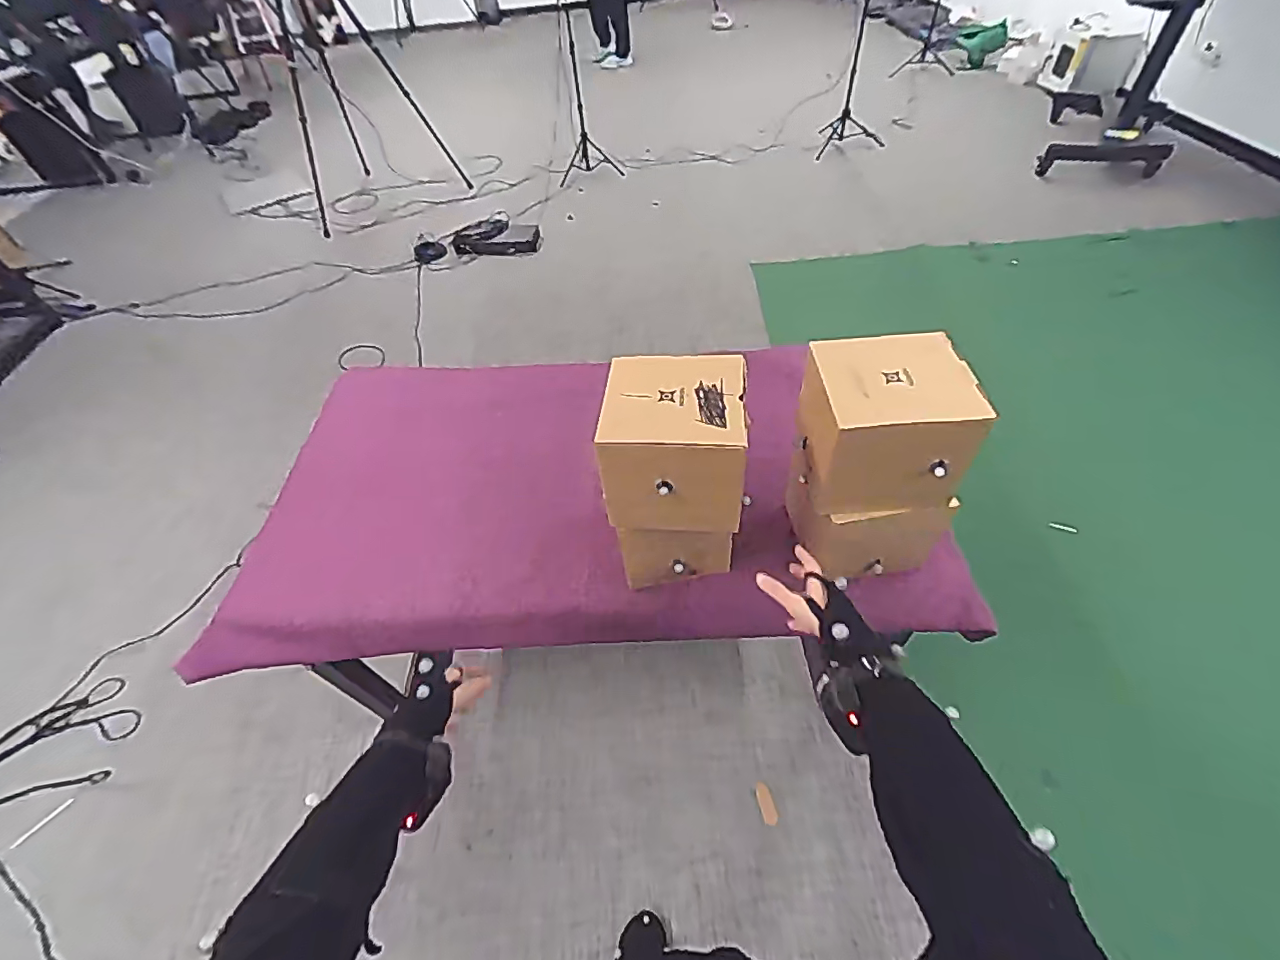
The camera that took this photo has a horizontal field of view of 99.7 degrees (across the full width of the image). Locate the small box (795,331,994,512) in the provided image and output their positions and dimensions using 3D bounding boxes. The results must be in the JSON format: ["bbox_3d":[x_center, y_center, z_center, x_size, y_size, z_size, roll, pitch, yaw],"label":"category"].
[{"bbox_3d":[0.315,-0.072,0.713,0.179,0.176,0.168,-4,50,5],"label":"small box"}]

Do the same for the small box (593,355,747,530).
[{"bbox_3d":[0.047,-0.047,0.719,0.179,0.176,0.168,1,49,8],"label":"small box"}]

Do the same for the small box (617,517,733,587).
[{"bbox_3d":[0.044,0.044,0.859,0.168,0.176,0.179,-10,49,-2],"label":"small box"}]

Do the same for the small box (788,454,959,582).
[{"bbox_3d":[0.341,0.038,0.832,0.179,0.176,0.168,-8,49,1],"label":"small box"}]
